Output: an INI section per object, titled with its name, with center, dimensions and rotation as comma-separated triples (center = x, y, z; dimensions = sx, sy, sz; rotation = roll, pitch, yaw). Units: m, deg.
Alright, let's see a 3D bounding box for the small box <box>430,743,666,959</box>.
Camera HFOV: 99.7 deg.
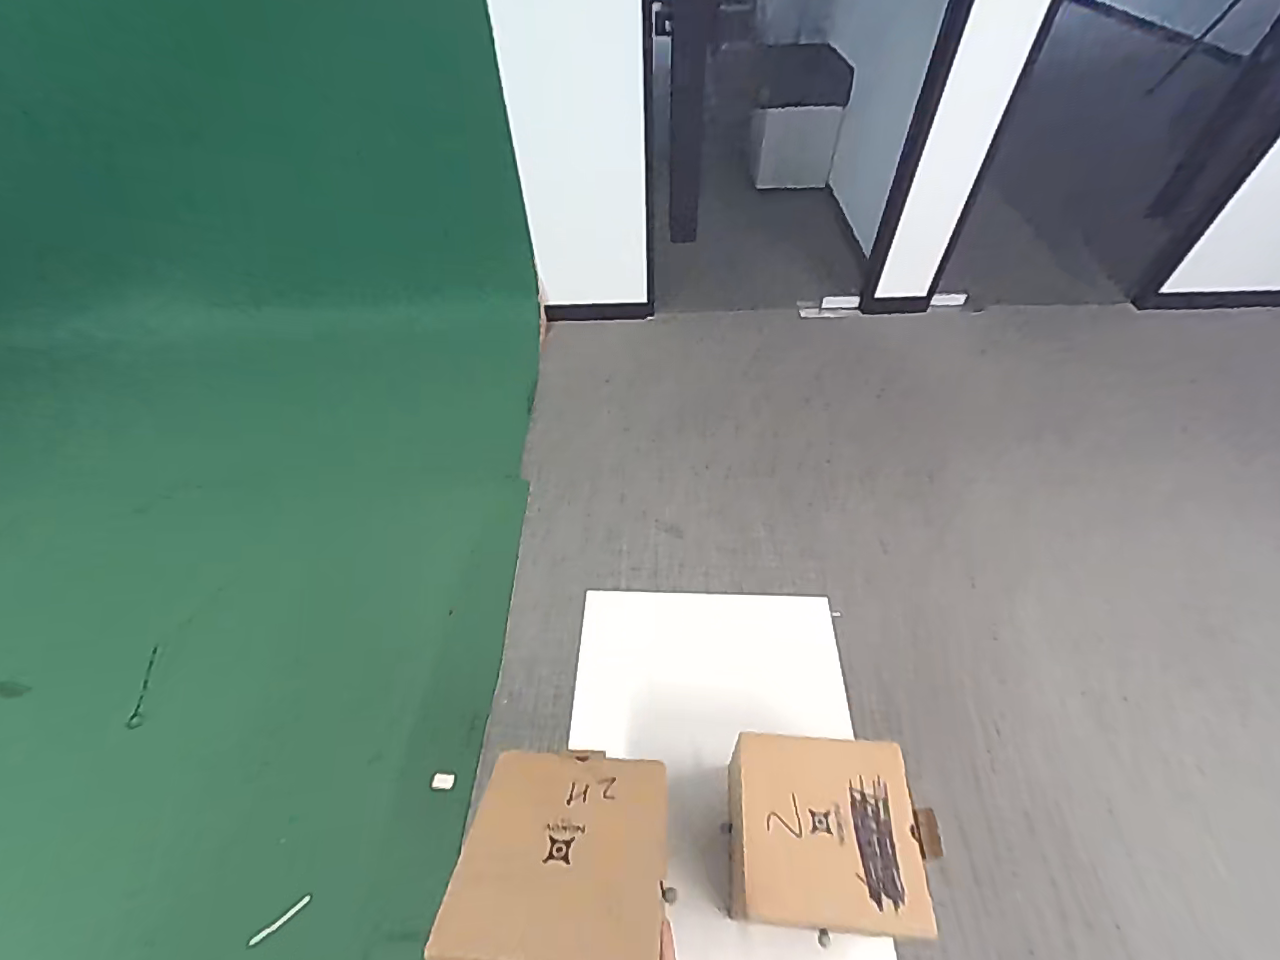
[small box]
center = -0.063, 0.376, 0.493
dimensions = 0.168, 0.176, 0.179
rotation = 2, 23, 5
